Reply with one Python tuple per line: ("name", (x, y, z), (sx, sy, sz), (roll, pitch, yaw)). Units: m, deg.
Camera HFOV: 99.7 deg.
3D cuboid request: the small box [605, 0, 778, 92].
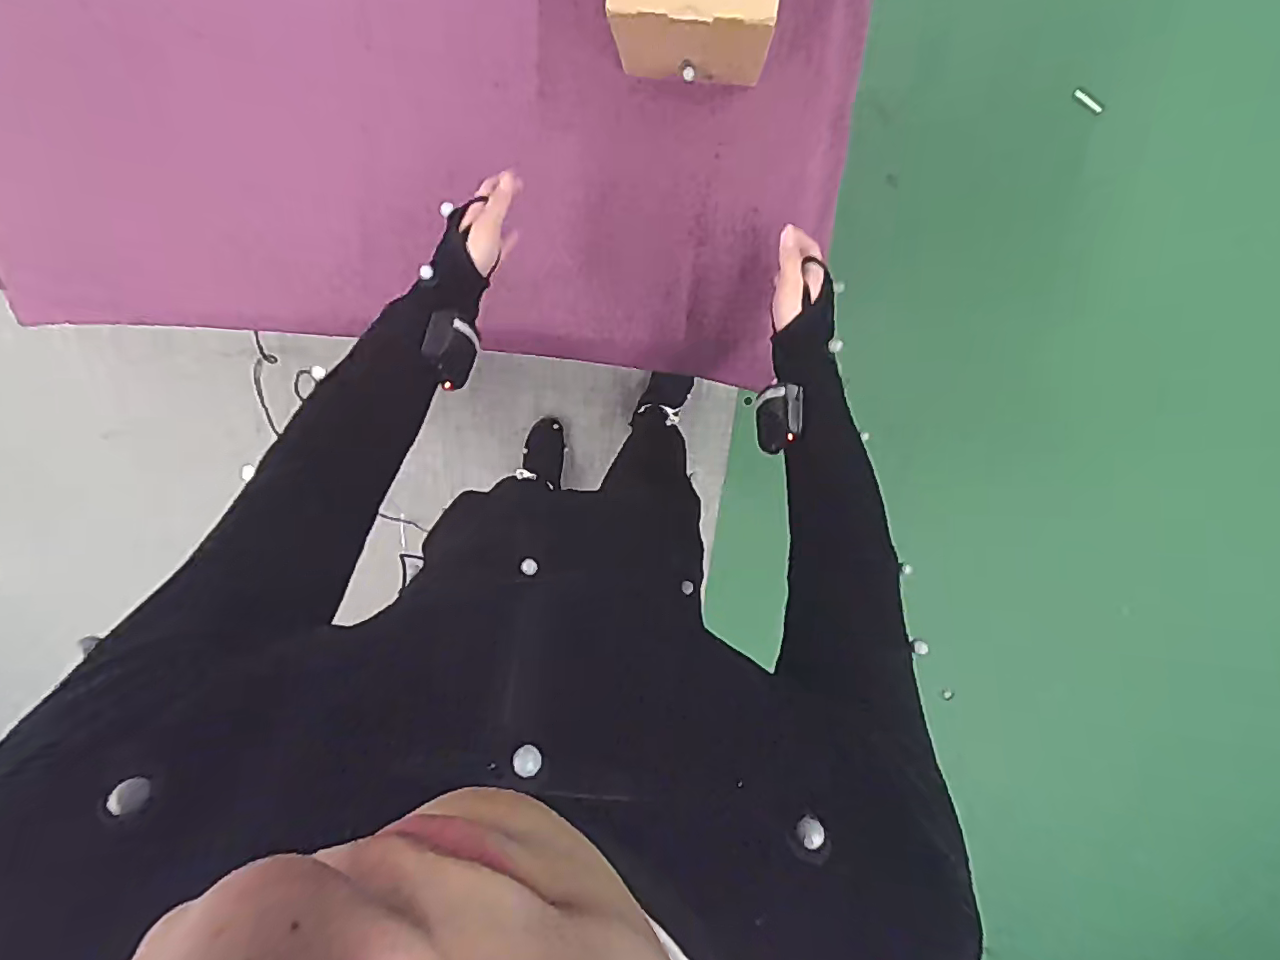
("small box", (0.061, -0.543, 0.565), (0.168, 0.176, 0.179), (7, 110, 3))
